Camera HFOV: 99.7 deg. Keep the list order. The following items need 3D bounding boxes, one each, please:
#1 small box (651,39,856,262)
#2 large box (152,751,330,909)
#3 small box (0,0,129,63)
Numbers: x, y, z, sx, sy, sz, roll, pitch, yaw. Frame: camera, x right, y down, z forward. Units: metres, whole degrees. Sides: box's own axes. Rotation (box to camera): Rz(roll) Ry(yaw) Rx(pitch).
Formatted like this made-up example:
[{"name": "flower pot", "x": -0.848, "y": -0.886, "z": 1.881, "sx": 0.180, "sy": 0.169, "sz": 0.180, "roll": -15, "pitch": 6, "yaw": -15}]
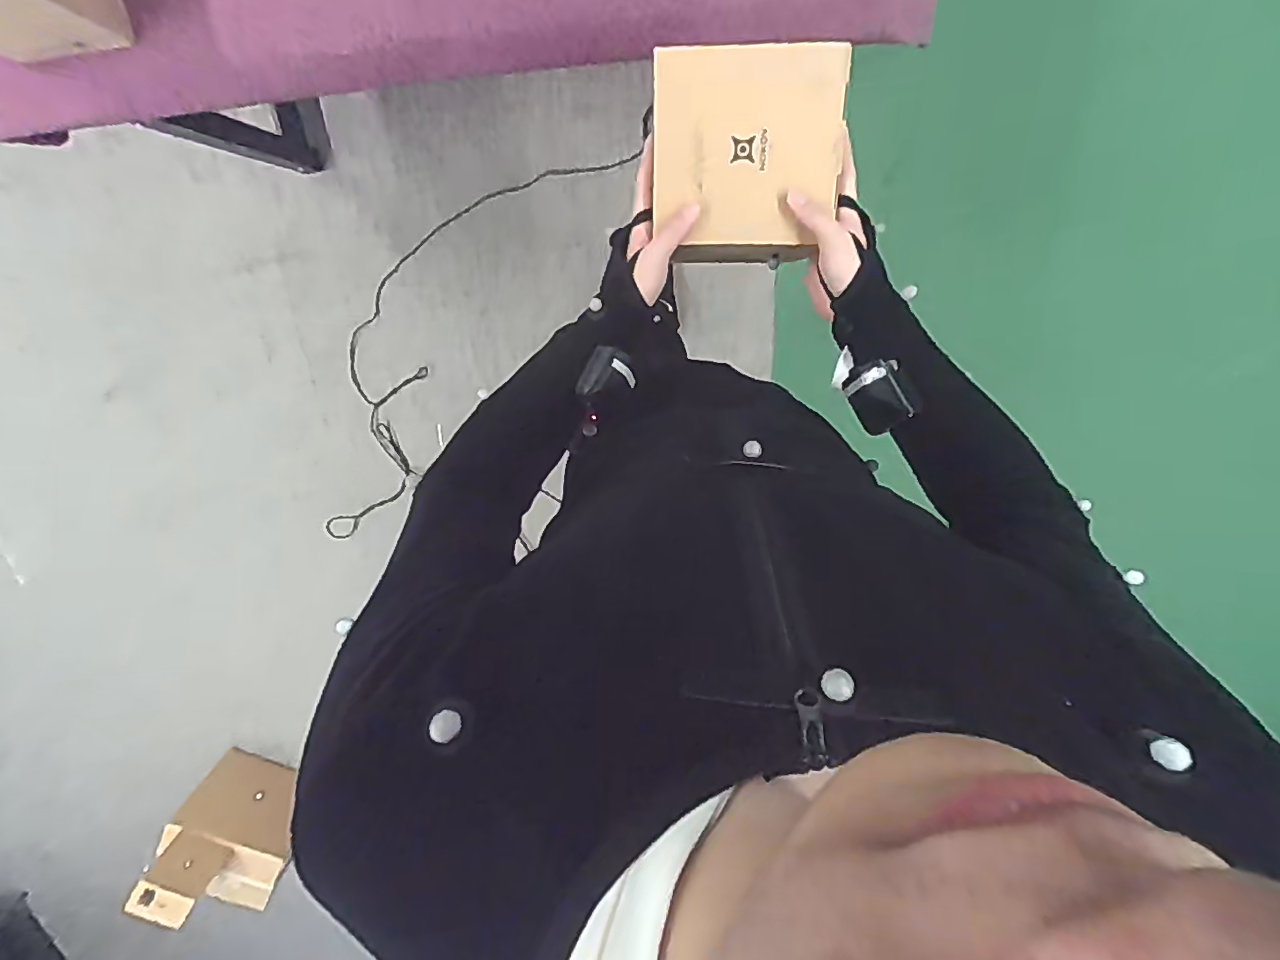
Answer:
[{"name": "small box", "x": 0.104, "y": -0.327, "z": 0.568, "sx": 0.179, "sy": 0.176, "sz": 0.168, "roll": 2, "pitch": 106, "yaw": 4}, {"name": "large box", "x": -1.467, "y": 1.292, "z": 2.012, "sx": 0.408, "sy": 0.320, "sz": 0.320, "roll": 26, "pitch": 110, "yaw": -10}, {"name": "small box", "x": -0.720, "y": -0.587, "z": 0.574, "sx": 0.168, "sy": 0.176, "sz": 0.179, "roll": -6, "pitch": 109, "yaw": 3}]
